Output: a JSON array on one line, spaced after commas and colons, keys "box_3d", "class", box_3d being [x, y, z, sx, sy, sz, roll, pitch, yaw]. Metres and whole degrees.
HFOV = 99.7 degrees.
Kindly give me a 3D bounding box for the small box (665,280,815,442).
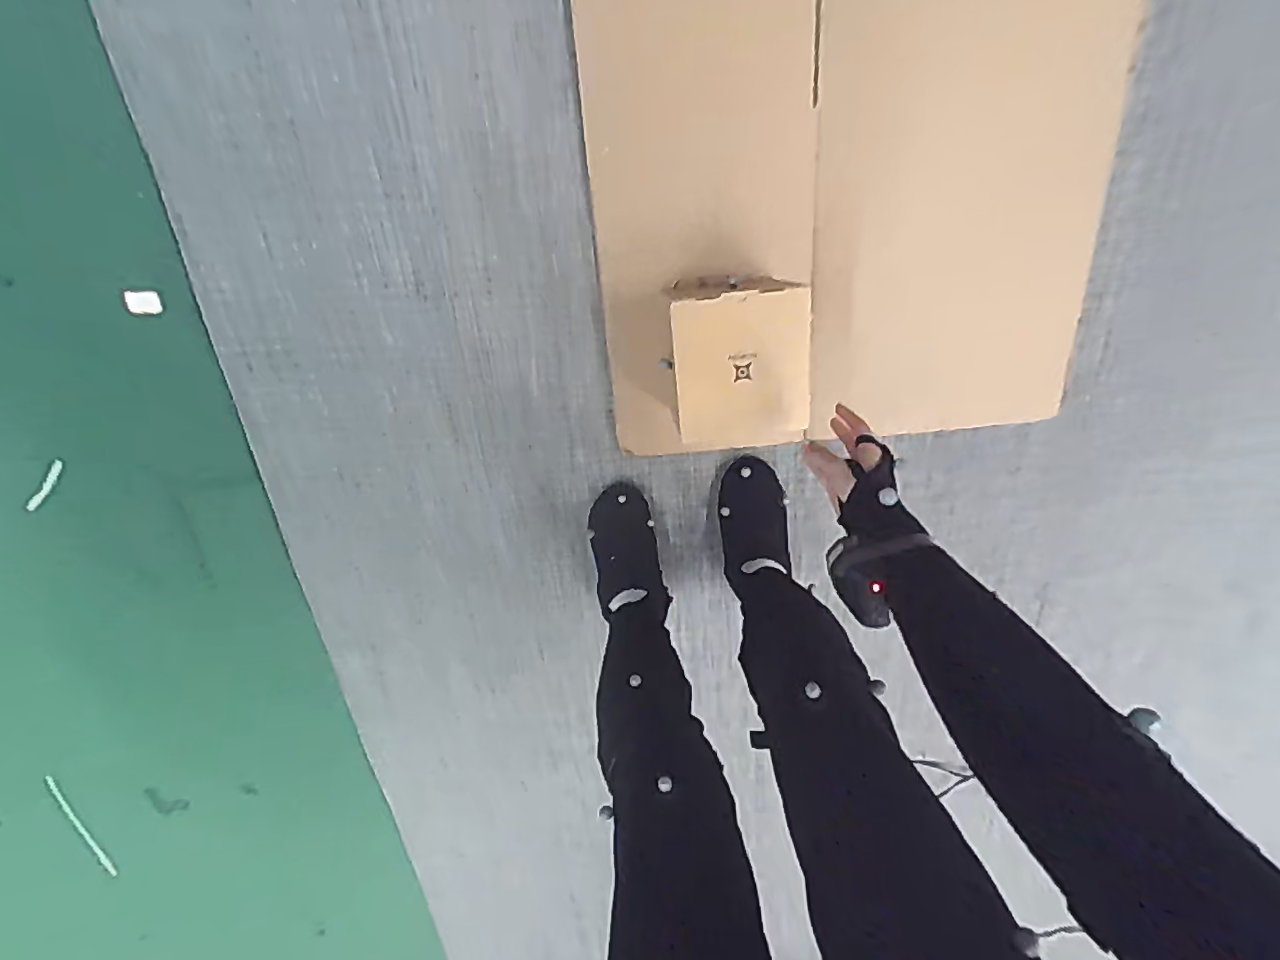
[{"box_3d": [0.125, -0.165, 0.724, 0.168, 0.176, 0.179, -7, 112, 1], "class": "small box"}]
